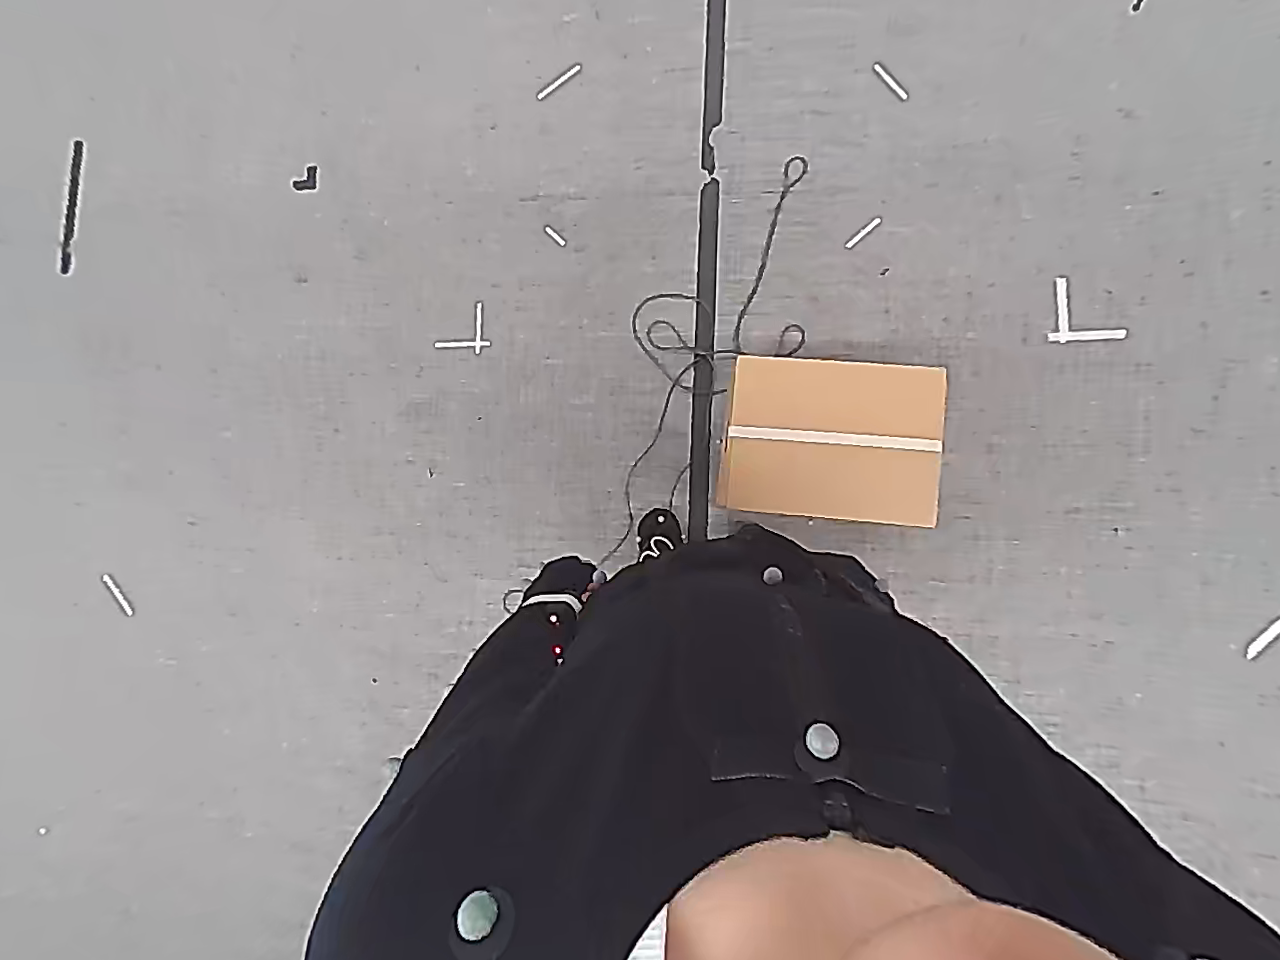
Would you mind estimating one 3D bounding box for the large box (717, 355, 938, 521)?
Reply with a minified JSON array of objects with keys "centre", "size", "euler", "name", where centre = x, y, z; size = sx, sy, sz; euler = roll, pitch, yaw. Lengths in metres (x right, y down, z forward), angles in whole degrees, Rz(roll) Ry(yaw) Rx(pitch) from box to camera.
[{"centre":[0.388,-0.078,1.219],"size":[0.408,0.320,0.320],"euler":[5,89,6],"name":"large box"}]
